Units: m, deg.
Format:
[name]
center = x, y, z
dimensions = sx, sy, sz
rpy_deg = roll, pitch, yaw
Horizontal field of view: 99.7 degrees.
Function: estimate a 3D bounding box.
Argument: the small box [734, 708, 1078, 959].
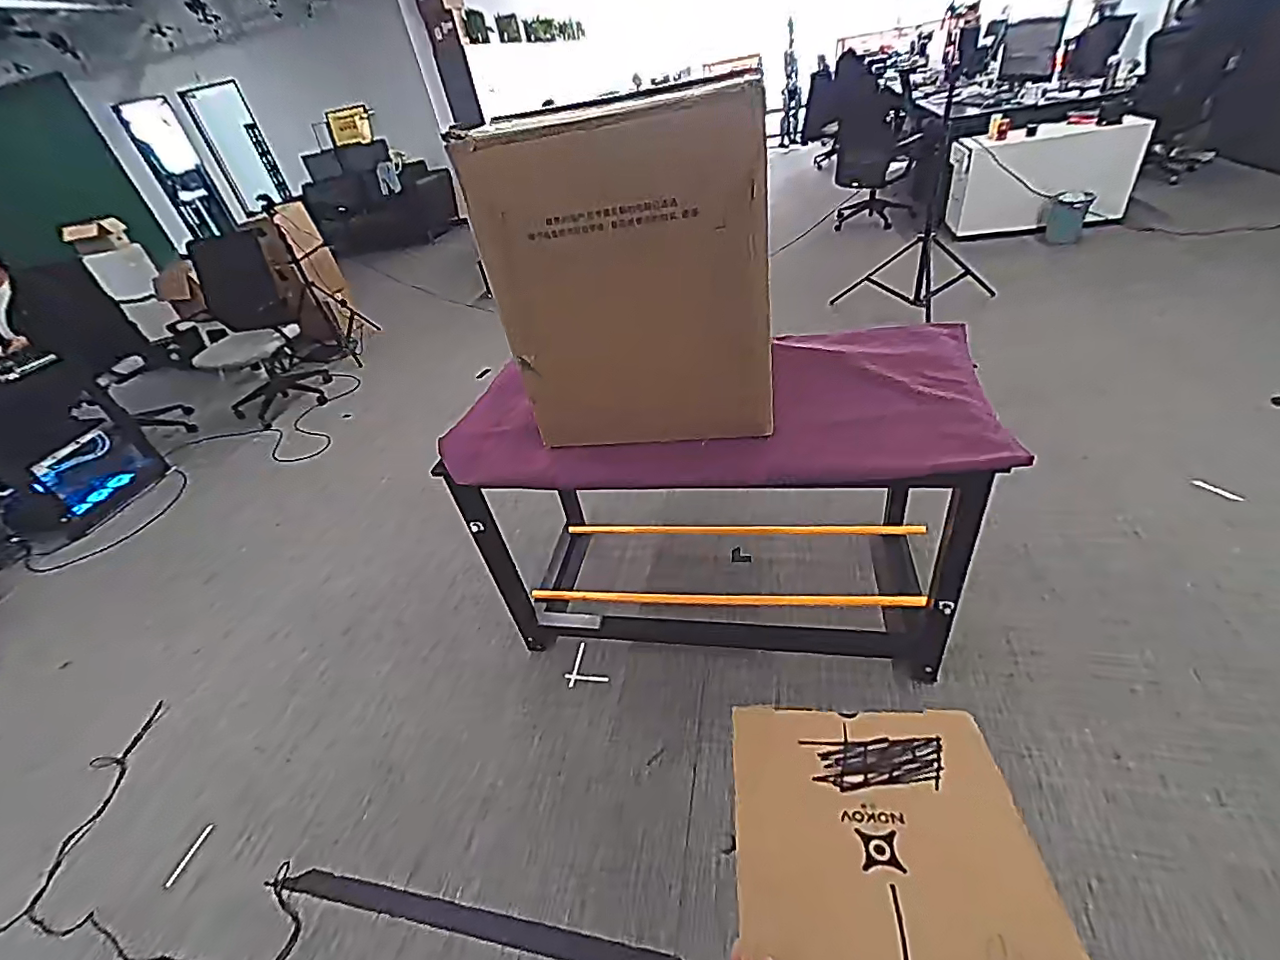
[small box]
center = 0.147, 0.281, 0.357
dimensions = 0.168, 0.176, 0.179
rpy_deg = -3, 28, 10
